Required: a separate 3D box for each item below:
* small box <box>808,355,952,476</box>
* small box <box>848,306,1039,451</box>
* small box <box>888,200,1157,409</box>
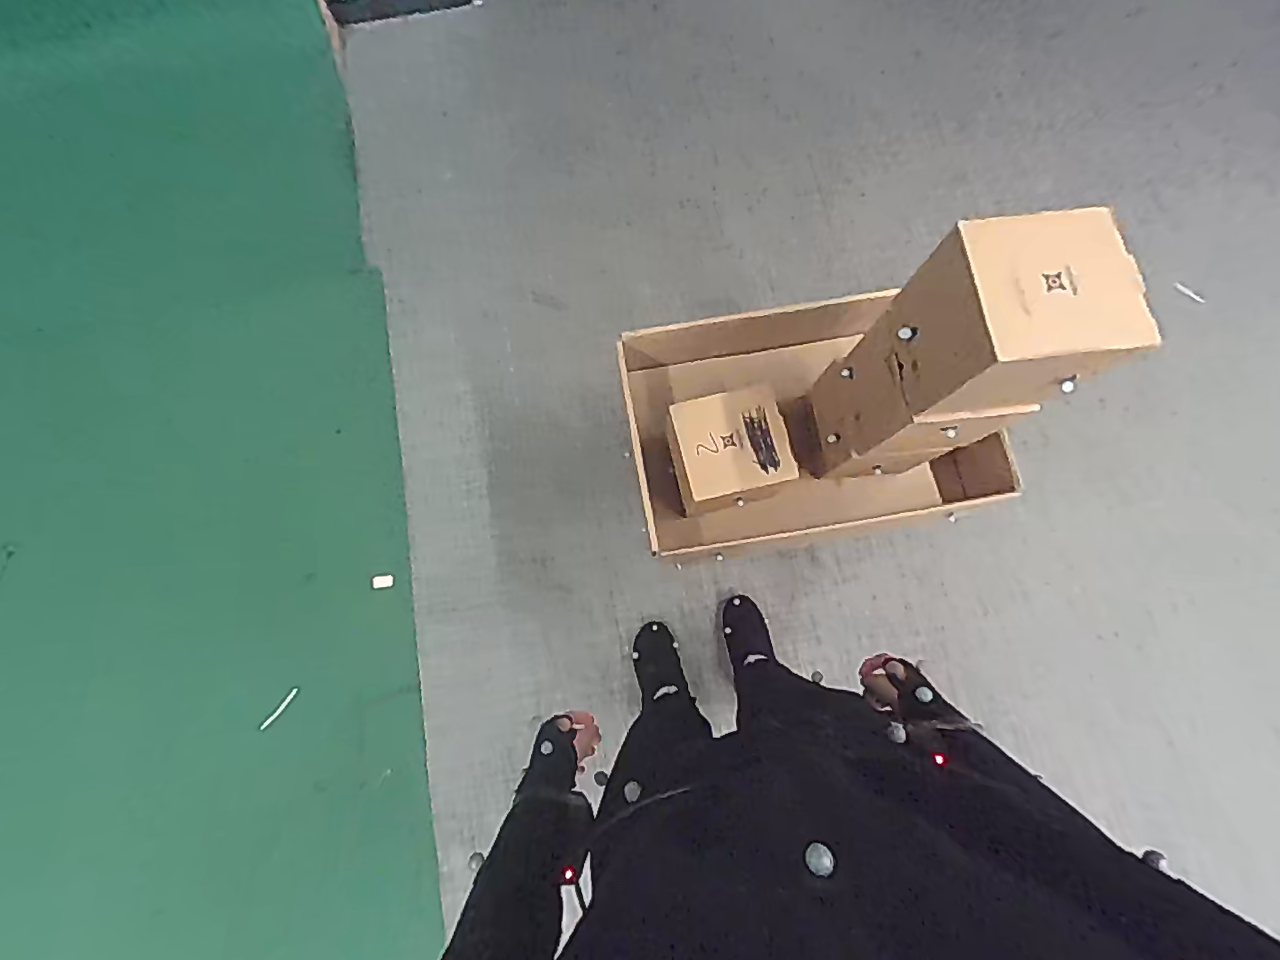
[{"bbox_3d":[0.409,-0.109,0.951,0.168,0.176,0.179,-5,76,-1],"label":"small box"},{"bbox_3d":[0.423,-0.147,0.791,0.179,0.176,0.168,-6,77,-2],"label":"small box"},{"bbox_3d":[0.426,-0.194,0.635,0.179,0.176,0.168,-6,76,-1],"label":"small box"}]
